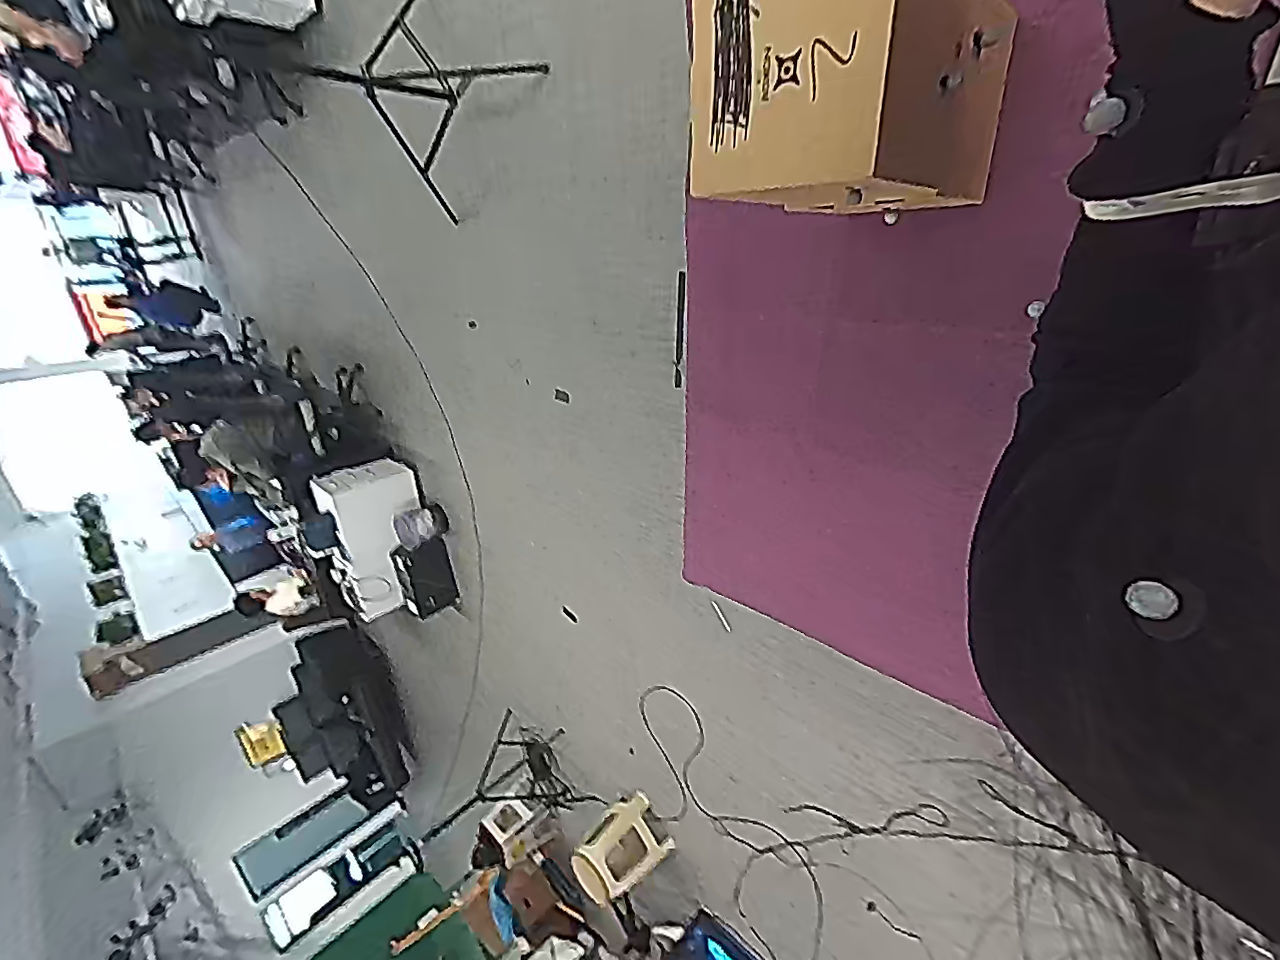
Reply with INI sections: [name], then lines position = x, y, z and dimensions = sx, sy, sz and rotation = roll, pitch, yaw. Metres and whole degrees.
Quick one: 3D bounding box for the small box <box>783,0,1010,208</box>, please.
[small box]
position = 0.276, -0.399, 0.587
dimensions = 0.168, 0.176, 0.179
rotation = 19, 122, 41
